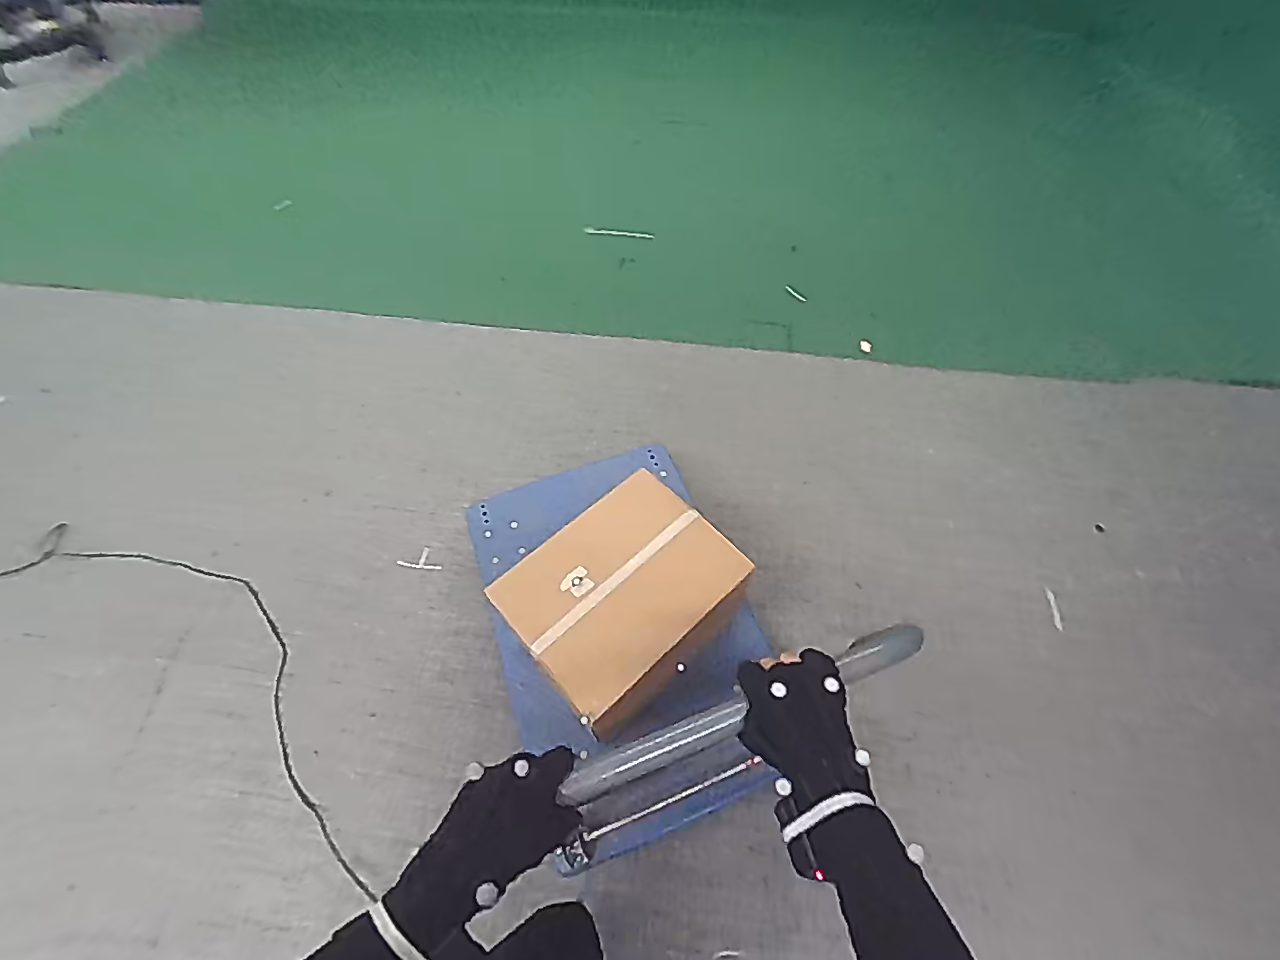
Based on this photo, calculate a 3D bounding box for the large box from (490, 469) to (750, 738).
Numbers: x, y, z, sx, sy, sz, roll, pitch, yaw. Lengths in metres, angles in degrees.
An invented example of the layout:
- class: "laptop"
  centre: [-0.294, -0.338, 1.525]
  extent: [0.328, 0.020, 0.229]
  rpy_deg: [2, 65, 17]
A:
- class: "large box"
  centre: [-0.031, 0.260, 1.134]
  extent: [0.408, 0.320, 0.320]
  rpy_deg: [-38, 64, -20]
